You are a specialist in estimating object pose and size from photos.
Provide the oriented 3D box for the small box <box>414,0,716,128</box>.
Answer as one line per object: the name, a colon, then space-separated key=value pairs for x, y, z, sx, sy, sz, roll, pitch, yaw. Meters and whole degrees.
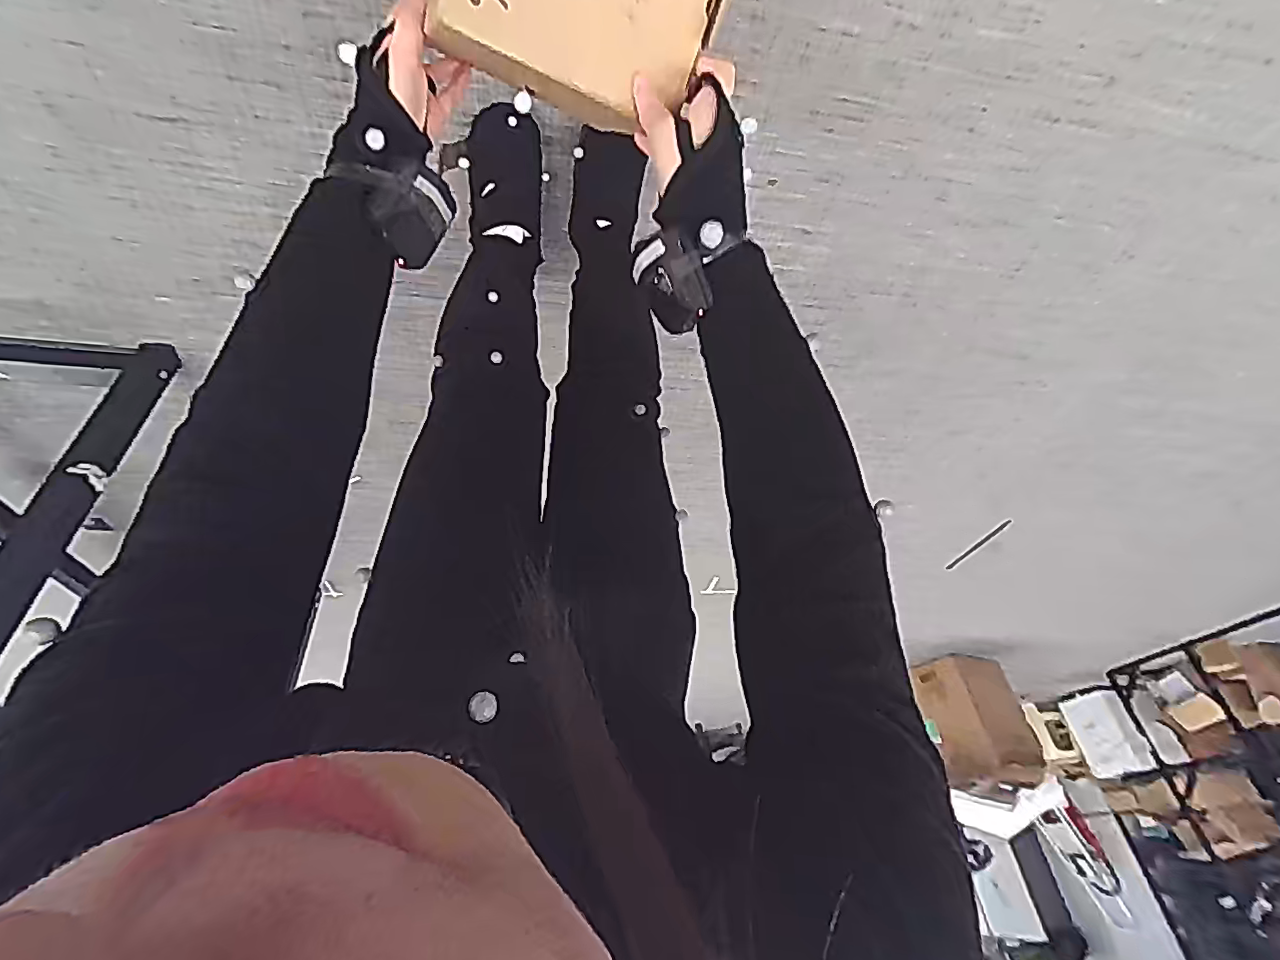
small box: x=-0.052 y=-0.385 z=0.390 sx=0.179 sy=0.176 sz=0.168 roll=6 pitch=119 yaw=-31
